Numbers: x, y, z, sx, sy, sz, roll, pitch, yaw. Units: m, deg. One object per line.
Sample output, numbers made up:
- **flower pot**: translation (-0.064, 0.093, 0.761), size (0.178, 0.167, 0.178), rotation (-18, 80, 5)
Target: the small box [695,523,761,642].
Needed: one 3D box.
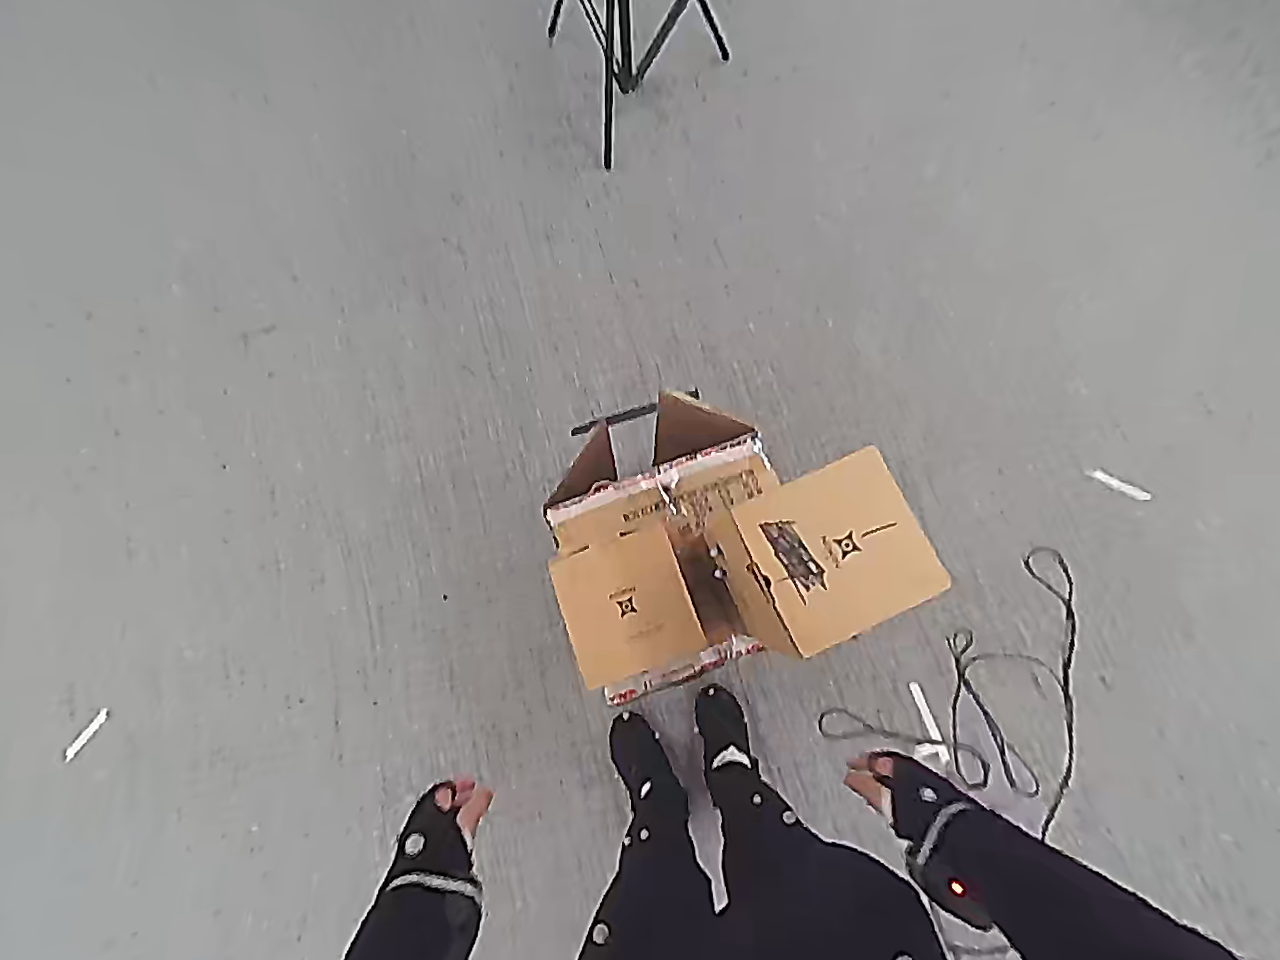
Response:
- **small box**: translation (0.198, 0.122, 0.802), size (0.179, 0.176, 0.168), rotation (-23, 79, -6)

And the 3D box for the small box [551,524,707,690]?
- **small box**: translation (-0.016, 0.181, 0.790), size (0.168, 0.176, 0.179), rotation (-20, 79, -2)

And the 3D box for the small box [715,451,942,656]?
- **small box**: translation (0.200, 0.091, 0.639), size (0.179, 0.176, 0.168), rotation (-23, 79, -6)
